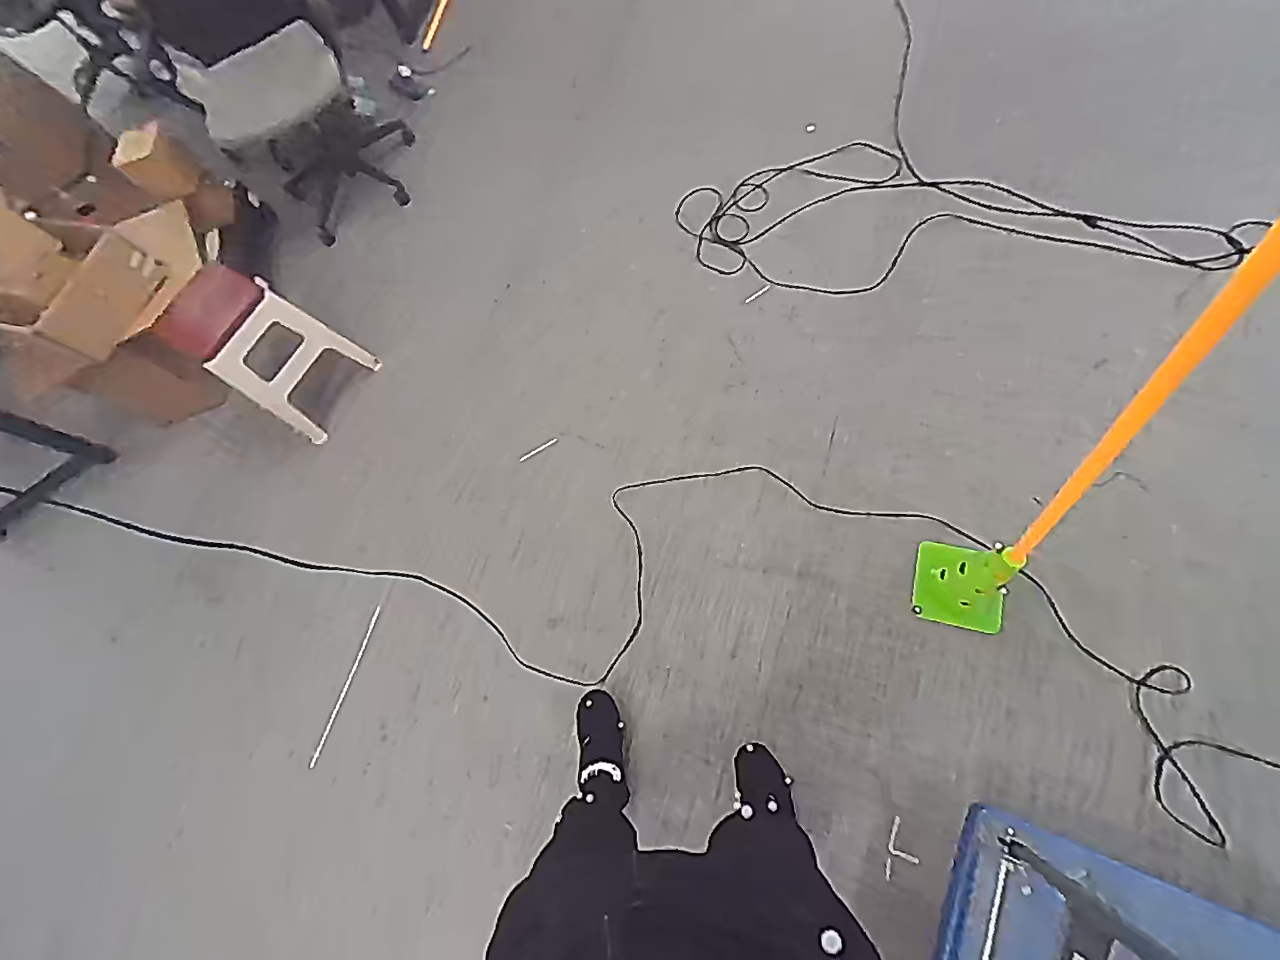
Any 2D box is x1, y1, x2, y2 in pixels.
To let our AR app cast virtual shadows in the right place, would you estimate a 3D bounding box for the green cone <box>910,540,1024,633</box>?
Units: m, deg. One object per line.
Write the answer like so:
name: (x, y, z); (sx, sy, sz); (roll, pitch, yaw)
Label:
green cone: (0.754, 0.203, 1.193); (0.200, 0.368, 0.202); (10, 72, 16)
